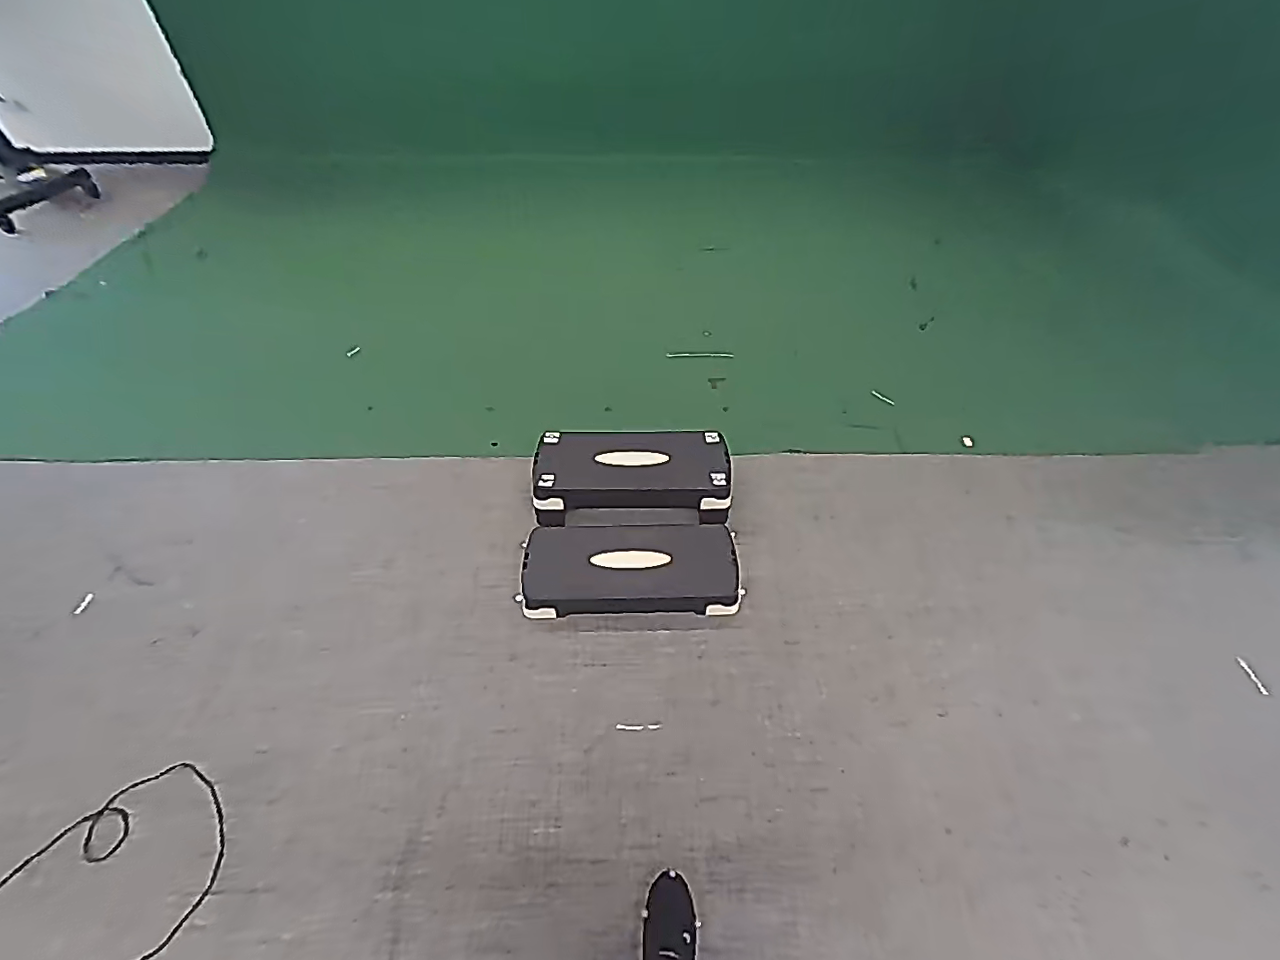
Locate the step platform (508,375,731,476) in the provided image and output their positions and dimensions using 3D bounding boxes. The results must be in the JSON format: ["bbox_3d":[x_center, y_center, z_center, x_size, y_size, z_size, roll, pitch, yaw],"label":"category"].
[{"bbox_3d":[-0.062,-0.174,1.745,0.684,0.204,0.286,-1,49,-1],"label":"step platform"}]
